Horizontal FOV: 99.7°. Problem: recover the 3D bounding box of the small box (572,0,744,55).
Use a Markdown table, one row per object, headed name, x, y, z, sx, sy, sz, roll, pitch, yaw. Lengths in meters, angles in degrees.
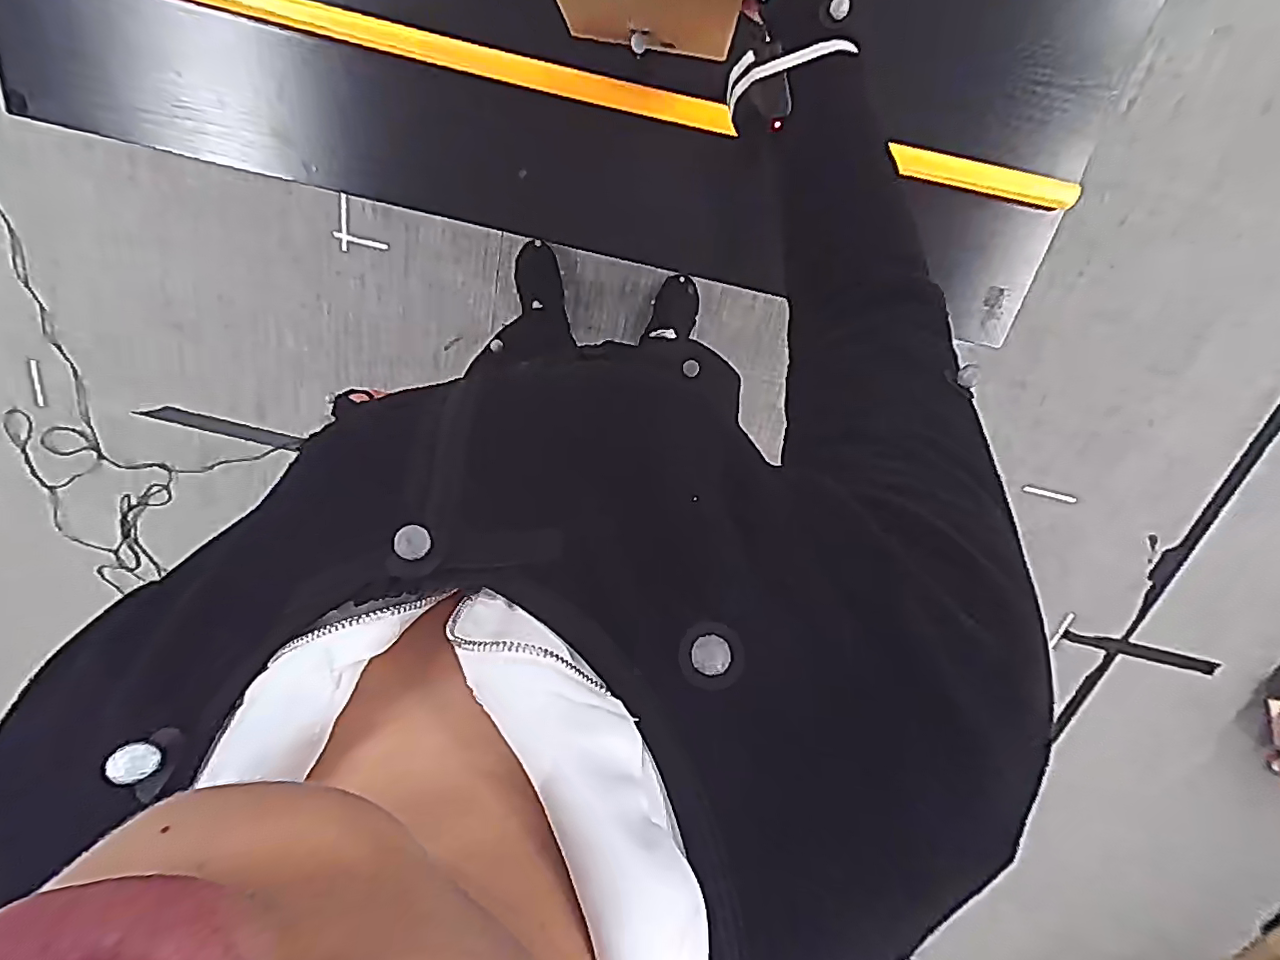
| name | x | y | z | sx | sy | sz | roll | pitch | yaw |
| --- | --- | --- | --- | --- | --- | --- | --- | --- | --- |
| small box | 0.021 | -0.510 | 0.465 | 0.168 | 0.176 | 0.179 | 9 | 114 | -1 |
